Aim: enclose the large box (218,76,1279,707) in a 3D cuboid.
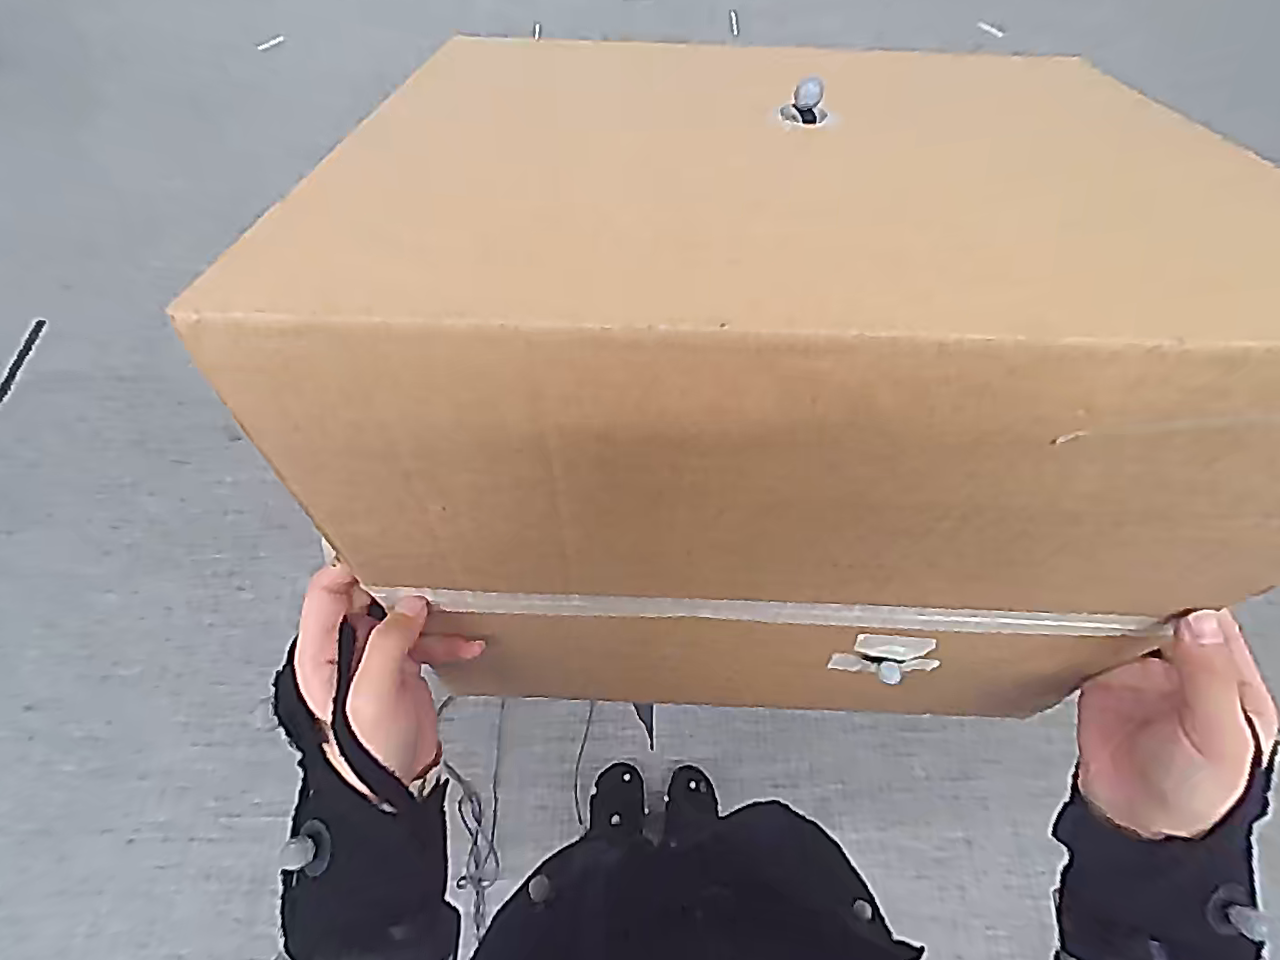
[{"bbox_3d":[0.067,-0.053,0.370,0.408,0.320,0.320,1,51,0],"label":"large box"}]
